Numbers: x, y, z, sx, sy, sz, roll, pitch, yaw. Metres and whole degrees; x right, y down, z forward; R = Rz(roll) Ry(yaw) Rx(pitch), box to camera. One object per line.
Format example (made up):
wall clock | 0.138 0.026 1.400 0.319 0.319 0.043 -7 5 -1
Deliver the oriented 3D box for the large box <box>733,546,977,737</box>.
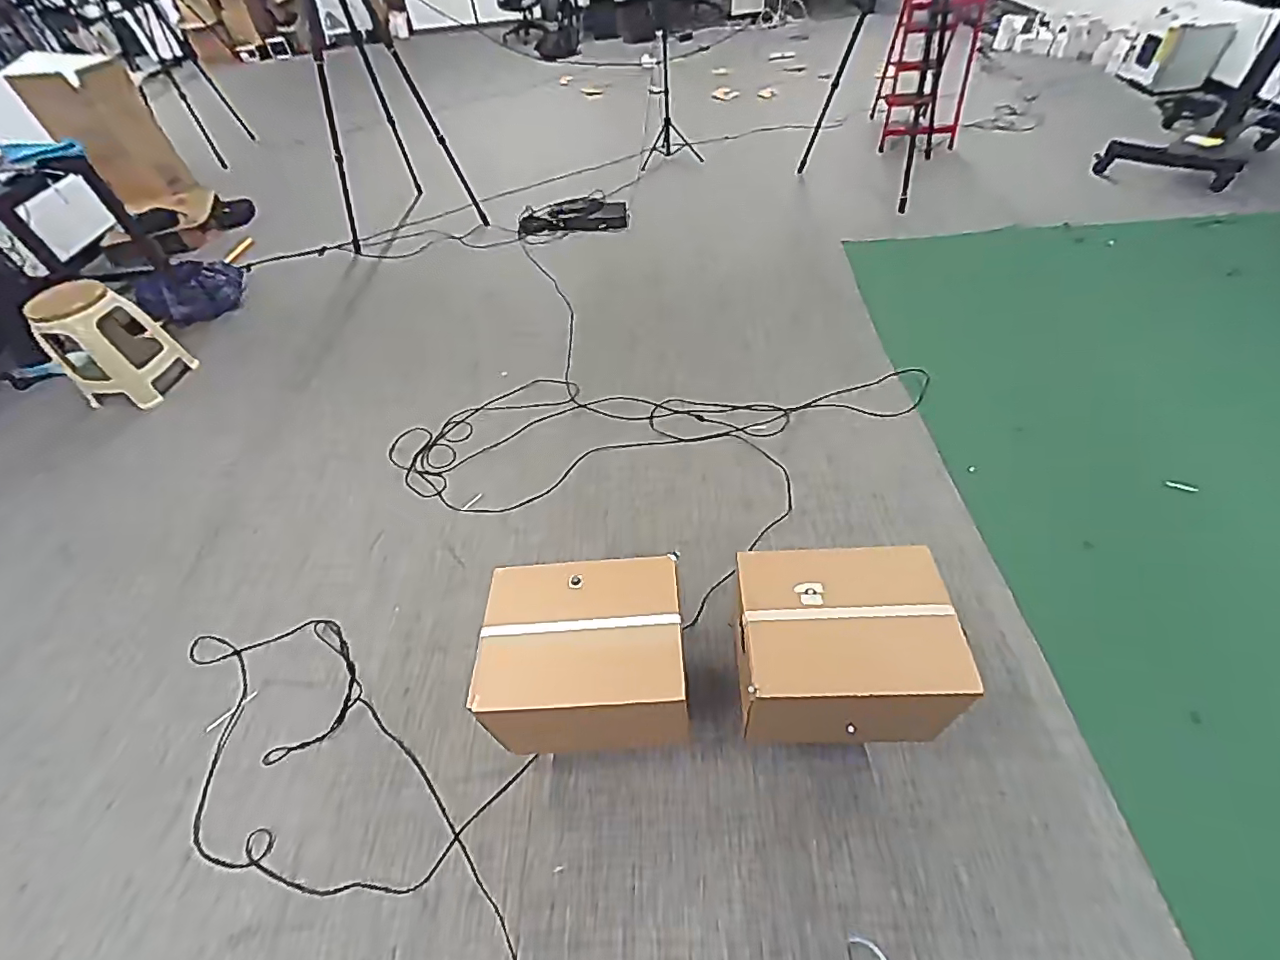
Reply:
large box | 0.427 0.365 1.193 0.408 0.320 0.320 -3 49 5
